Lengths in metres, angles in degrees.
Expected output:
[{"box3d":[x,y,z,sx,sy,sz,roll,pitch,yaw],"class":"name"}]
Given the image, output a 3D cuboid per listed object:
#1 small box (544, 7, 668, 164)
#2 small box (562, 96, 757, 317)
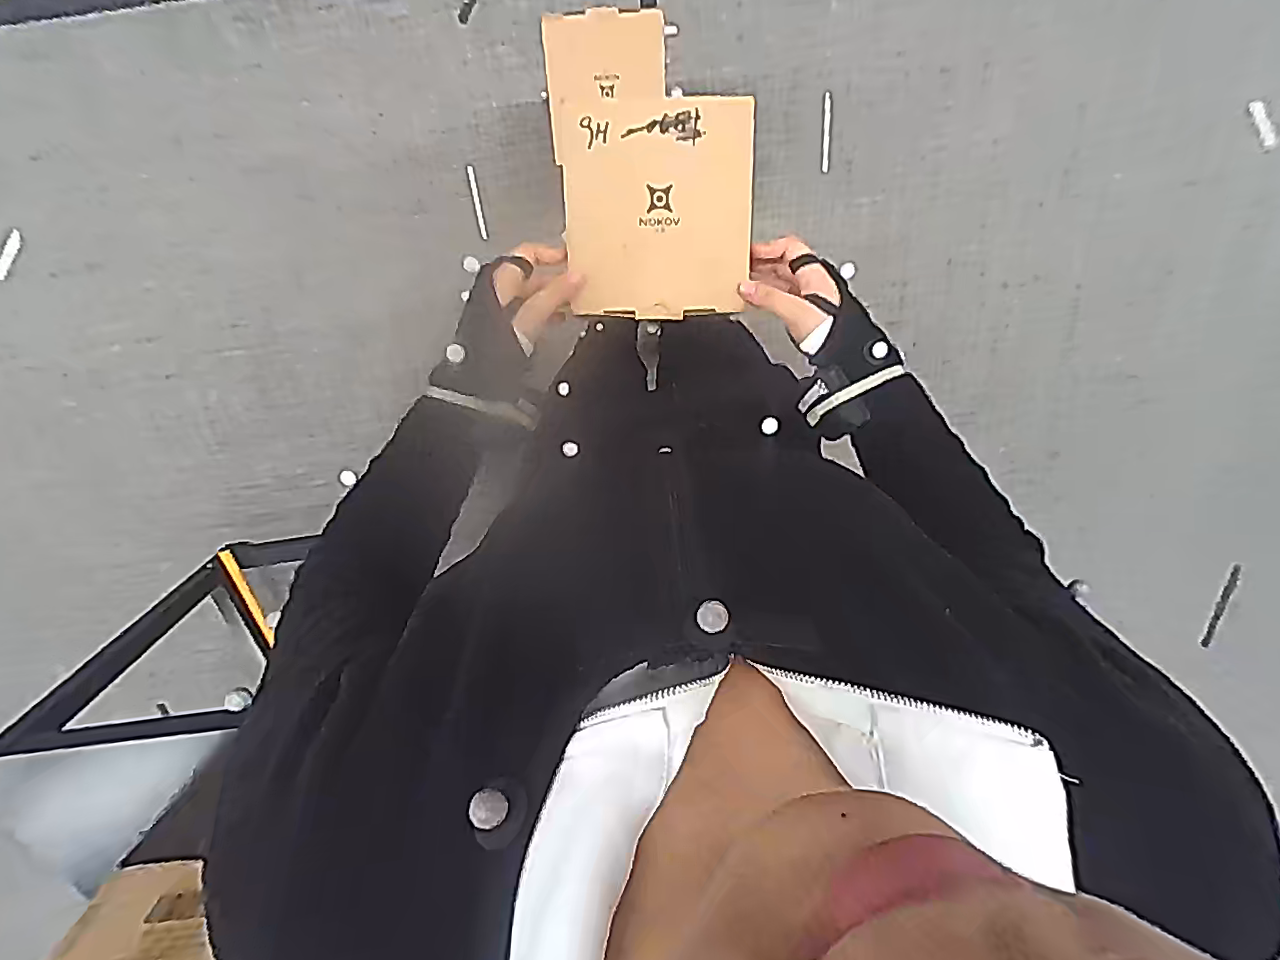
[{"box3d":[-0.046,-0.576,0.820,0.168,0.176,0.179,-4,118,0],"class":"small box"},{"box3d":[0.016,-0.259,0.549,0.168,0.176,0.179,-1,106,-1],"class":"small box"}]
